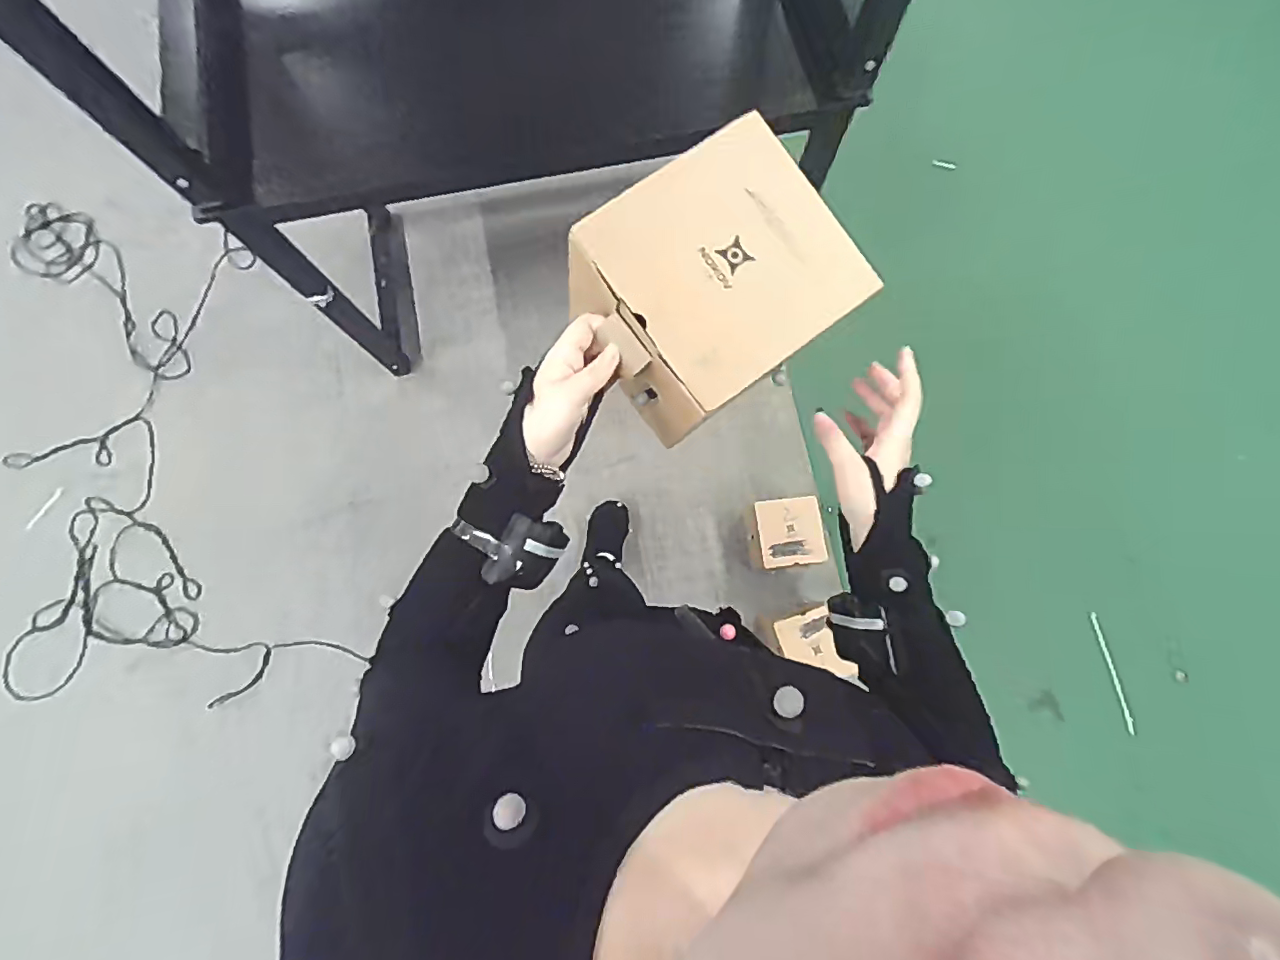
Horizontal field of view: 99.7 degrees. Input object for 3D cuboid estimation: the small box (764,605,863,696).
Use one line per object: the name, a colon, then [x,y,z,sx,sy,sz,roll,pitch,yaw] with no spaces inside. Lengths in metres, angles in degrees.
small box: [0.432,0.427,1.380,0.168,0.176,0.179,-18,79,-2]
